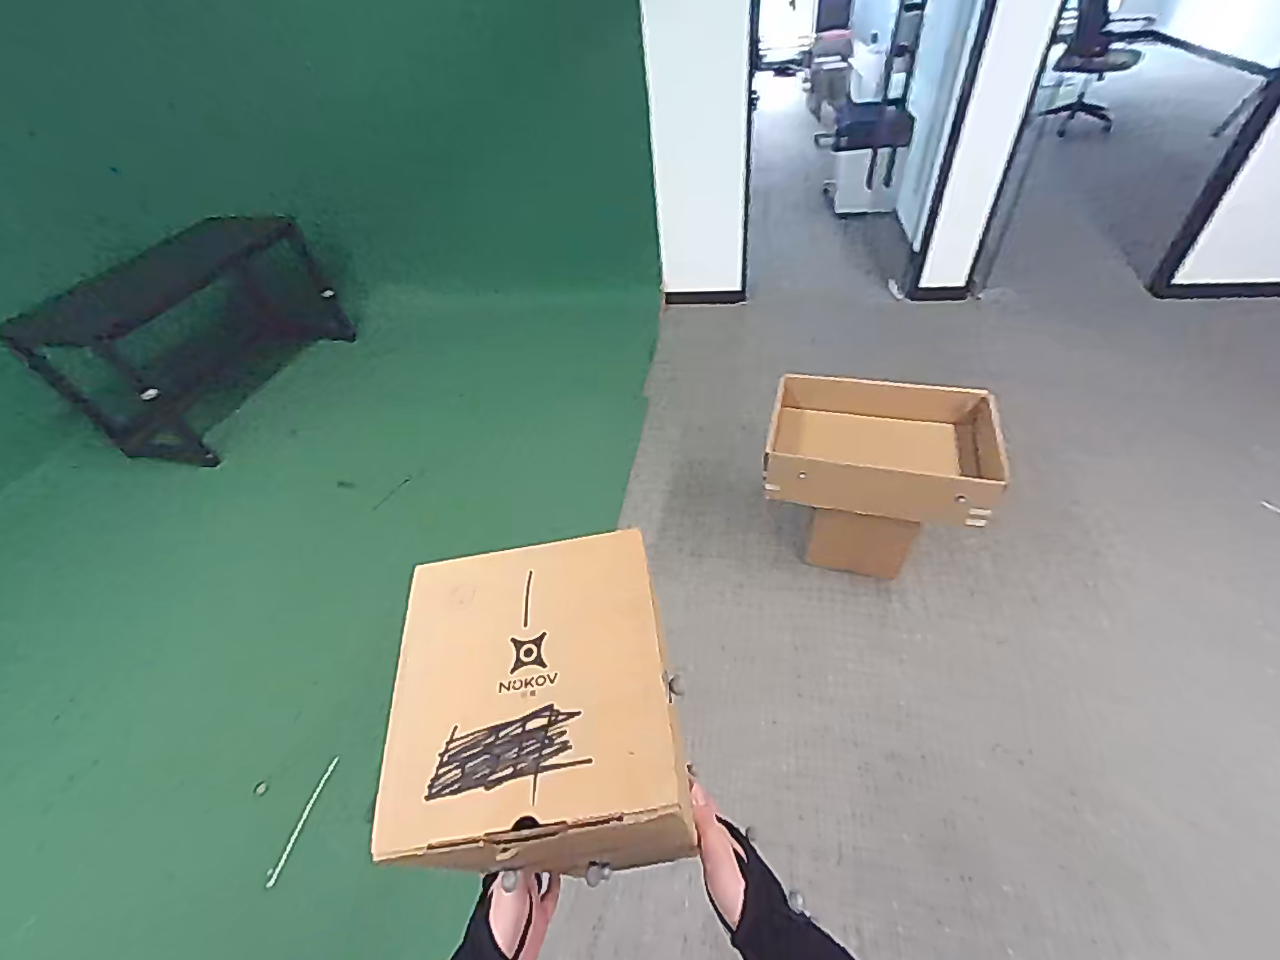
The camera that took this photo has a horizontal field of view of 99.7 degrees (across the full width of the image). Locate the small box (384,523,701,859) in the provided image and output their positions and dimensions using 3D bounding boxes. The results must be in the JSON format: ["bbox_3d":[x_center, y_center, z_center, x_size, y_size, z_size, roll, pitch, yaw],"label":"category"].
[{"bbox_3d":[-0.051,0.158,0.388,0.168,0.176,0.179,-8,50,1],"label":"small box"}]

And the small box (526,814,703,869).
[{"bbox_3d":[-0.035,0.255,0.519,0.168,0.176,0.179,-8,52,1],"label":"small box"}]
